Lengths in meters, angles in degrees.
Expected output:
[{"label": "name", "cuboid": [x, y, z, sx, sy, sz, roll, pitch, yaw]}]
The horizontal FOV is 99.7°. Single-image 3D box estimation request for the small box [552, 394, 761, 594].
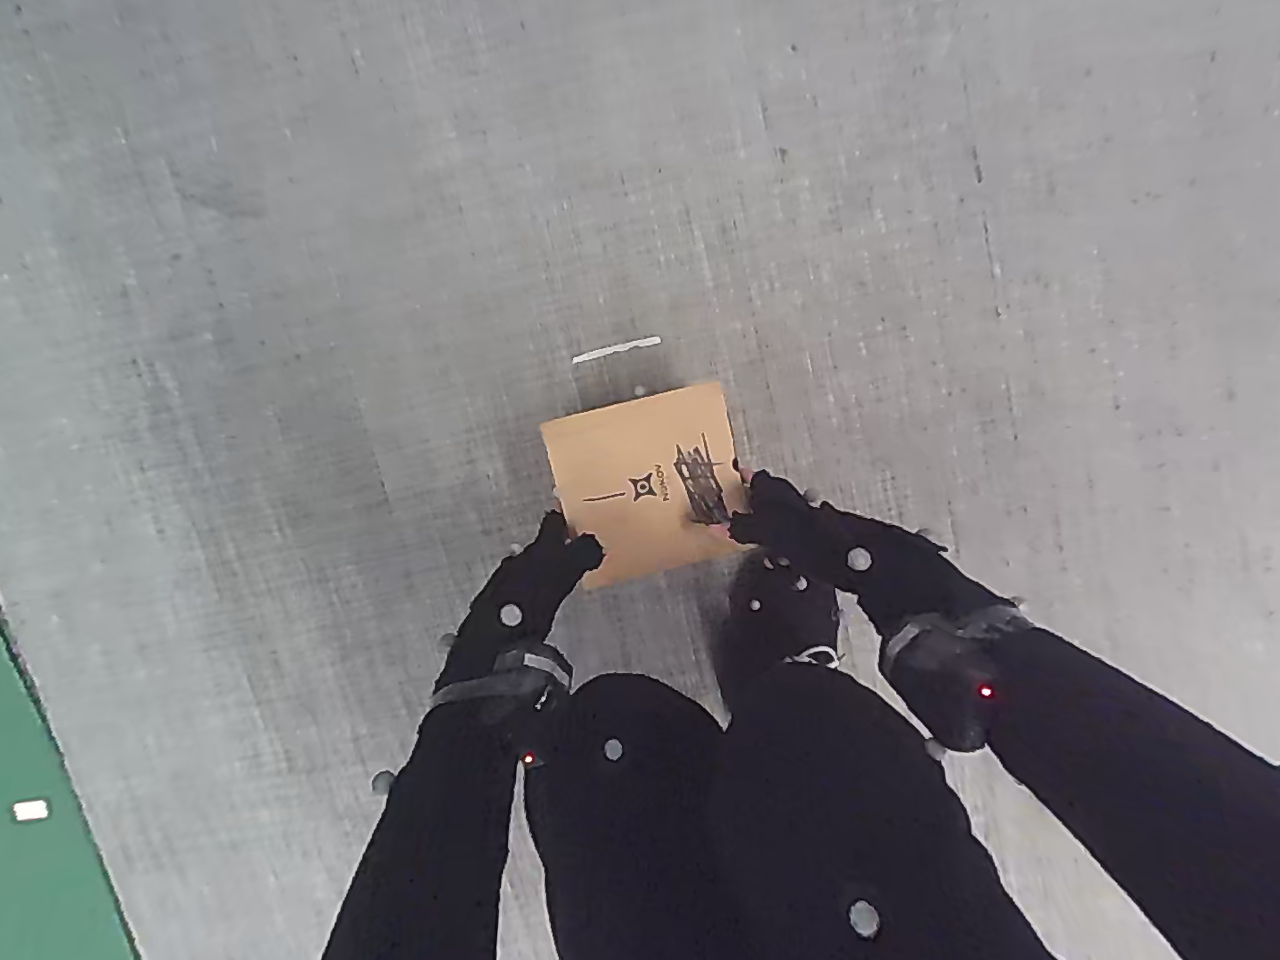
[{"label": "small box", "cuboid": [0.014, 0.006, 0.592, 0.179, 0.176, 0.168, -13, 95, 0]}]
